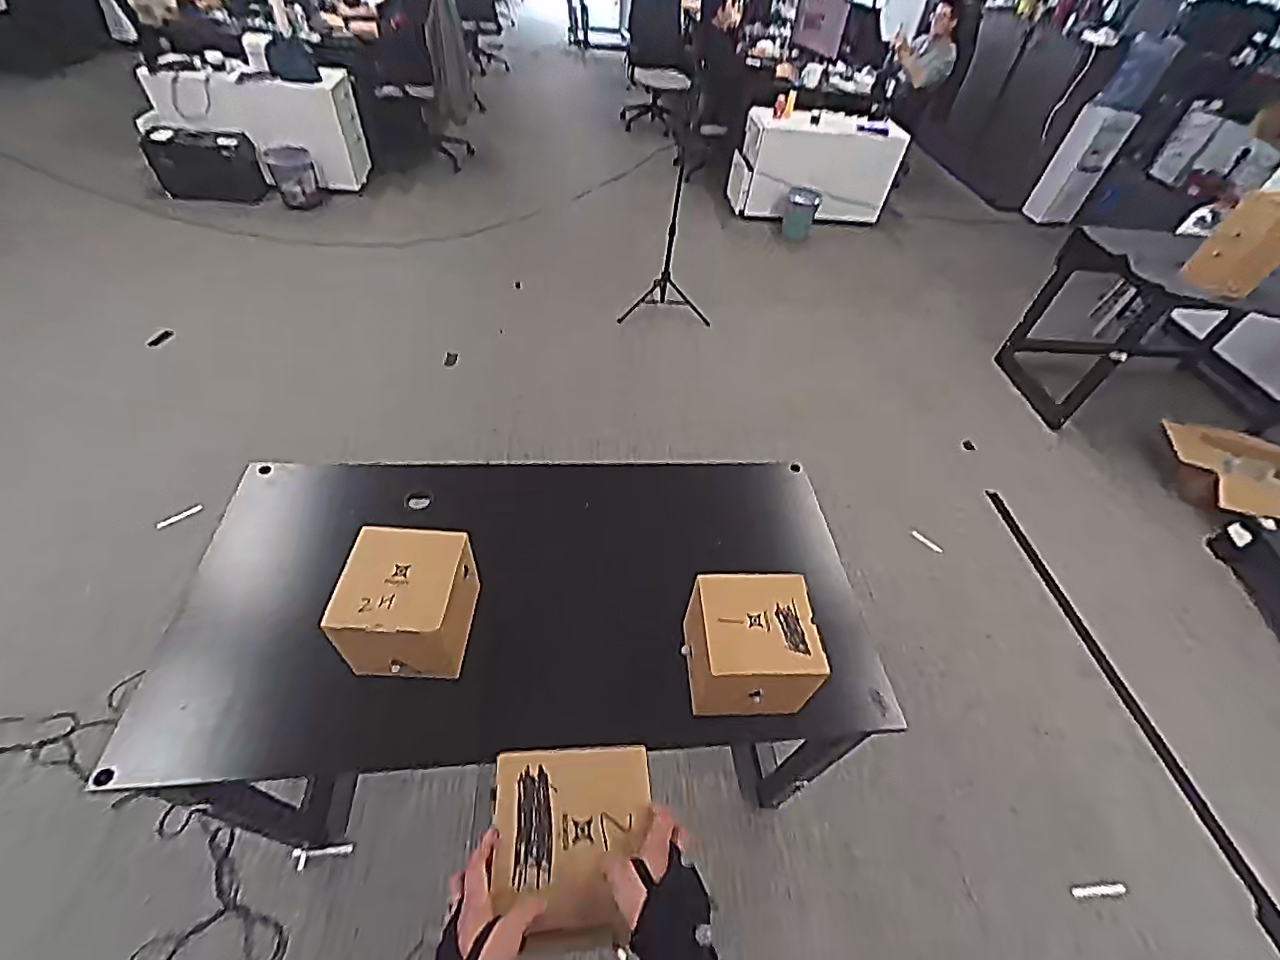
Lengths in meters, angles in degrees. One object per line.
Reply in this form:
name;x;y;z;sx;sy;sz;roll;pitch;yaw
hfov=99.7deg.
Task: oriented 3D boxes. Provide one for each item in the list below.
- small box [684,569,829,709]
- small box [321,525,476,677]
small box;0.174;0.257;0.869;0.179;0.176;0.168;0;48;-5
small box;-0.366;0.194;0.863;0.168;0.176;0.179;3;49;-3
